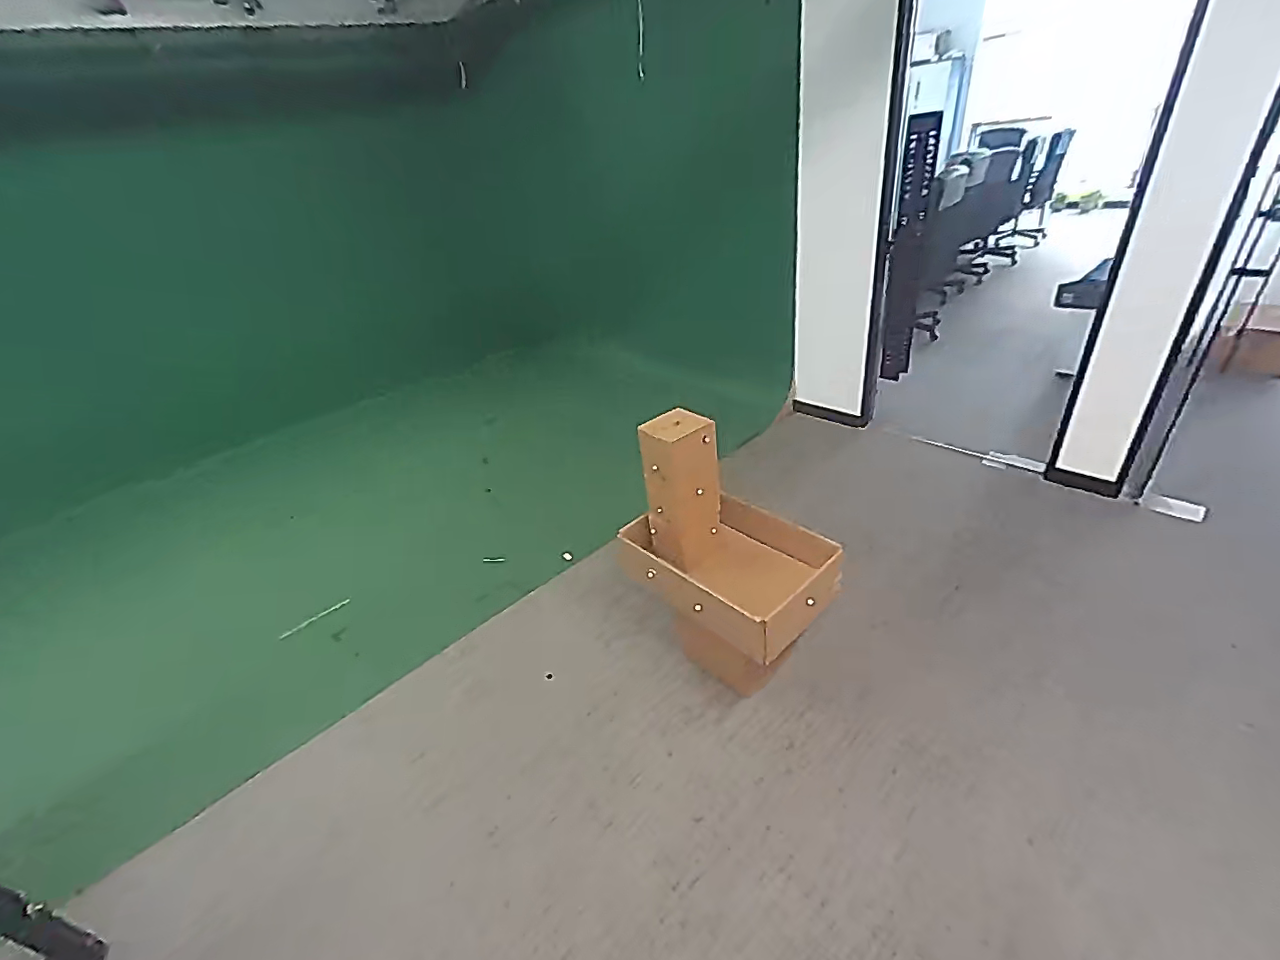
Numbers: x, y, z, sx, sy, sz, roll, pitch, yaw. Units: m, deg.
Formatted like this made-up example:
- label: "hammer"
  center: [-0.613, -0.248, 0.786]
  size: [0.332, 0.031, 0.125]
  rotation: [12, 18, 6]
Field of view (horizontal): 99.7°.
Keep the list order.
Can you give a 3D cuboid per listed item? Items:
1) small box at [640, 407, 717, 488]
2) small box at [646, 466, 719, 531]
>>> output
- label: "small box"
  center: [0.122, -0.102, 1.678]
  size: [0.179, 0.176, 0.168]
  rotation: [-27, 36, -28]
- label: "small box"
  center: [0.141, 0.037, 1.765]
  size: [0.179, 0.176, 0.168]
  rotation: [-29, 37, -30]
